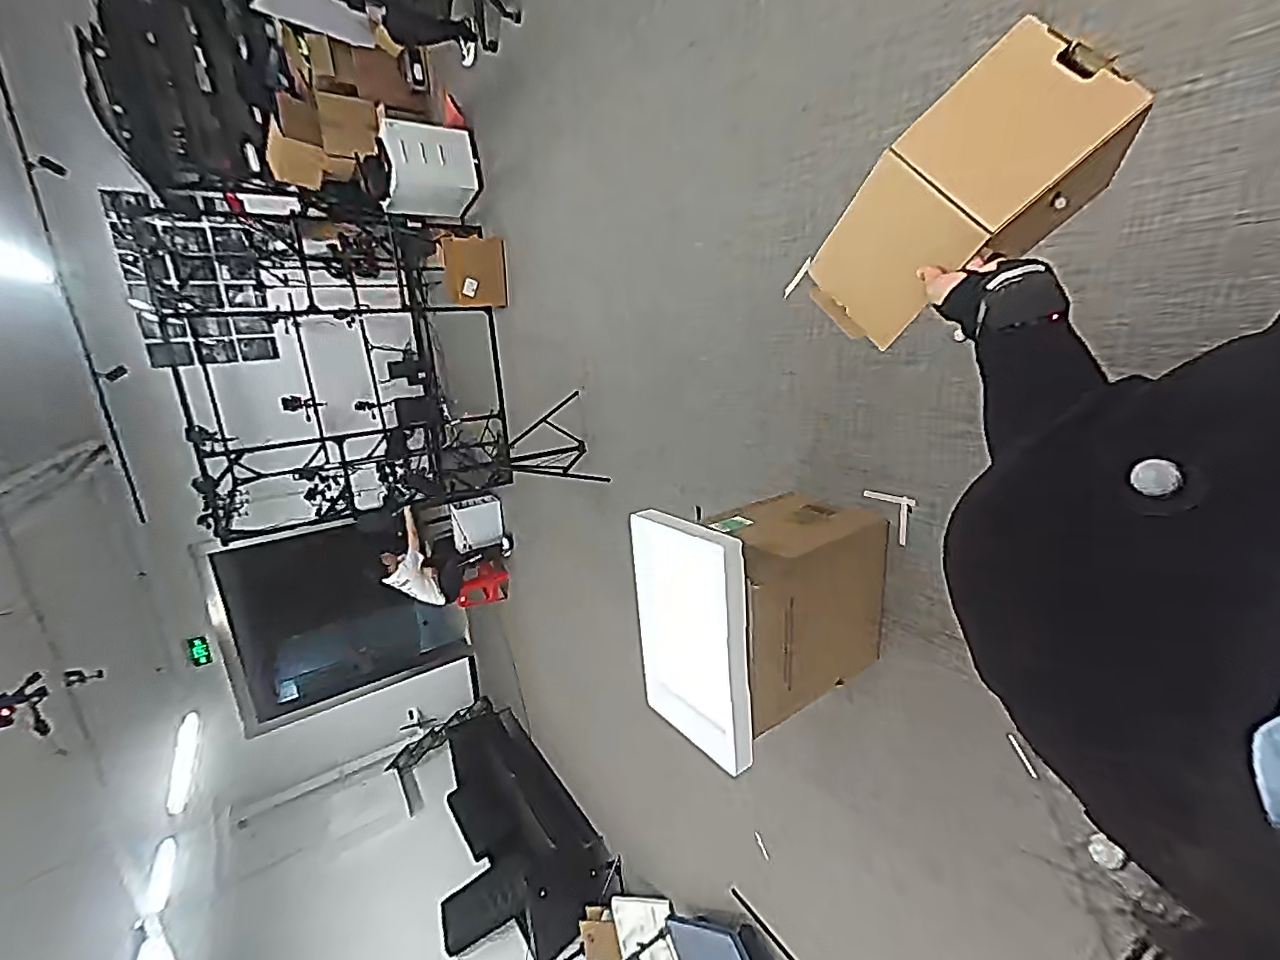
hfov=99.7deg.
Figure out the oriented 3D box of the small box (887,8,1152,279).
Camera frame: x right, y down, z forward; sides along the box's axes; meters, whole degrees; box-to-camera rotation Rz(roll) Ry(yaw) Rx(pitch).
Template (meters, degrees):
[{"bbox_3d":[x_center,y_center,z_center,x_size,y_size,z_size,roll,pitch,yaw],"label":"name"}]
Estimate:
[{"bbox_3d":[0.424,-0.374,0.637,0.179,0.176,0.168,-41,70,20],"label":"small box"}]
